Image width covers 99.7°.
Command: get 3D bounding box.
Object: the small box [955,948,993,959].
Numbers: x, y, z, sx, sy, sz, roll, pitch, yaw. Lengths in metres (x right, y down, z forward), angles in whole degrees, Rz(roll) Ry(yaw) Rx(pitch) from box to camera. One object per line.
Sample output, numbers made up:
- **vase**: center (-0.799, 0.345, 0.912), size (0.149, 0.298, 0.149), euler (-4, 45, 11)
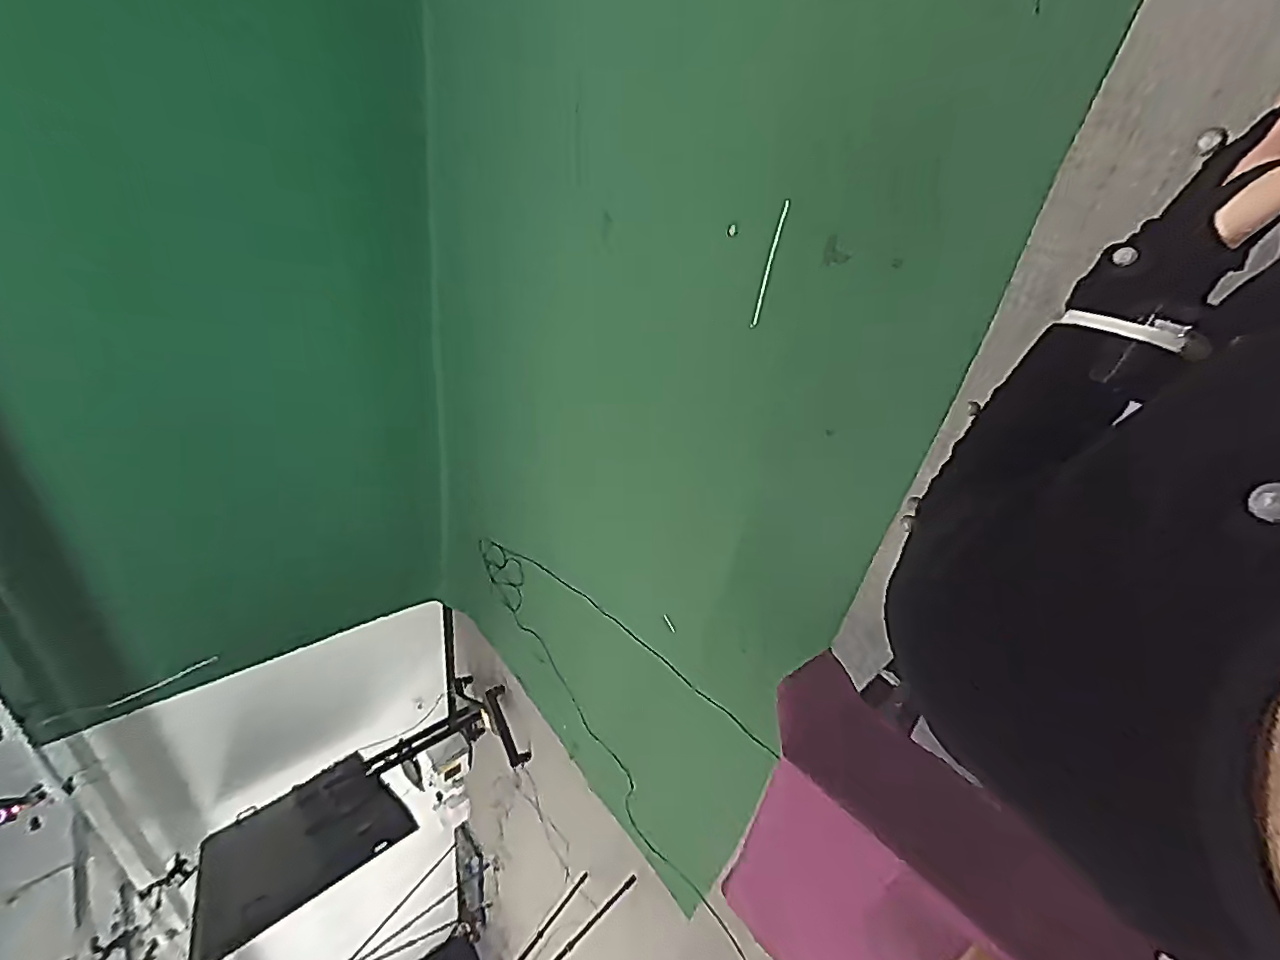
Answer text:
- **small box**: center (0.530, 0.883, 0.829), size (0.168, 0.176, 0.179), euler (36, 129, 36)
